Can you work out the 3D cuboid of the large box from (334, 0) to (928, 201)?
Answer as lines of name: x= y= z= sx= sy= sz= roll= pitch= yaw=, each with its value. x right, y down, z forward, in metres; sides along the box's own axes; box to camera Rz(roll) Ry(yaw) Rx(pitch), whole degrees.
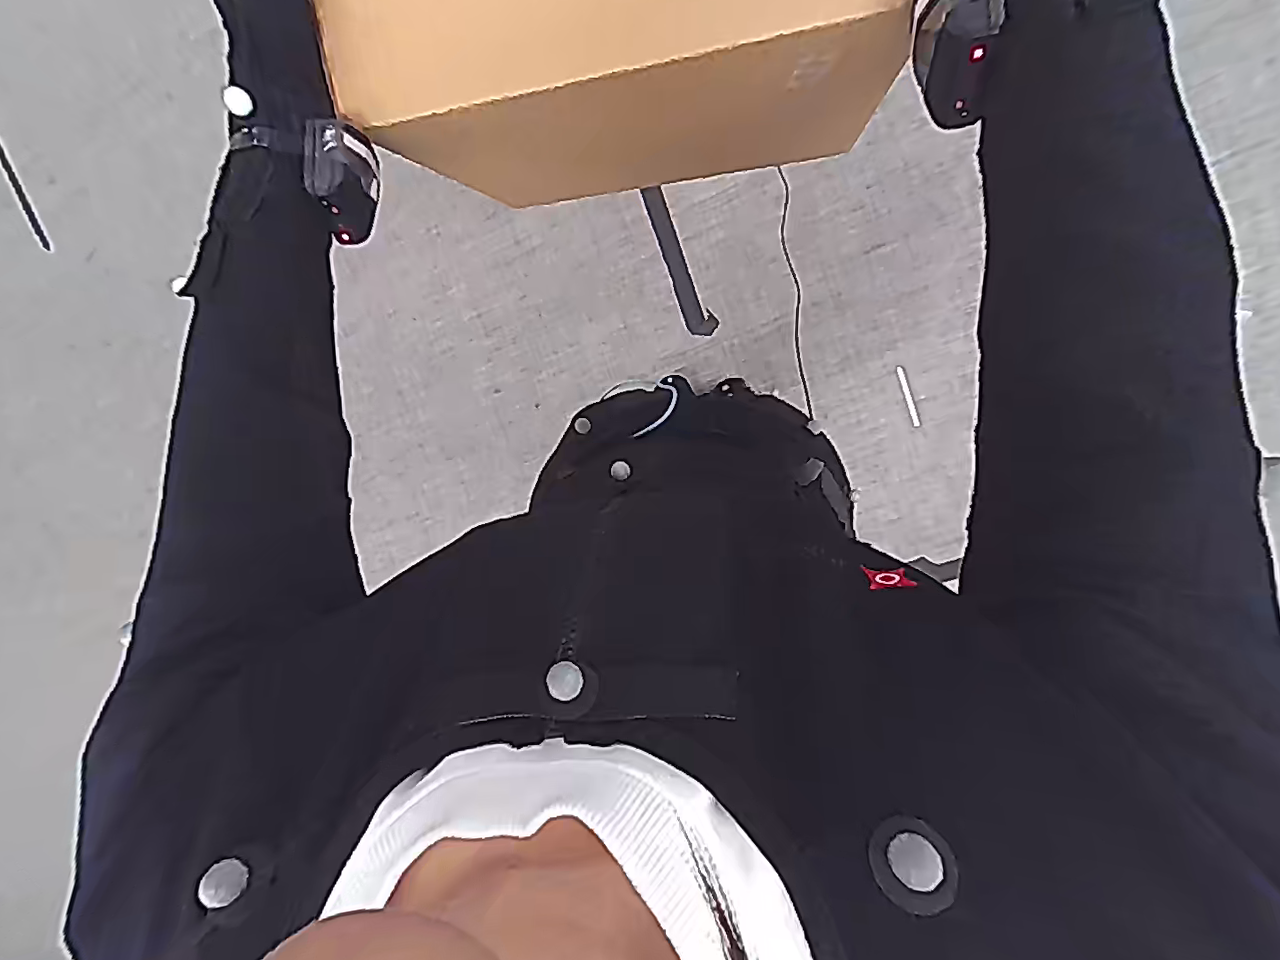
large box: x=-0.006 y=-0.466 z=0.460 sx=0.408 sy=0.320 sz=0.320 roll=-4 pitch=107 yaw=11
